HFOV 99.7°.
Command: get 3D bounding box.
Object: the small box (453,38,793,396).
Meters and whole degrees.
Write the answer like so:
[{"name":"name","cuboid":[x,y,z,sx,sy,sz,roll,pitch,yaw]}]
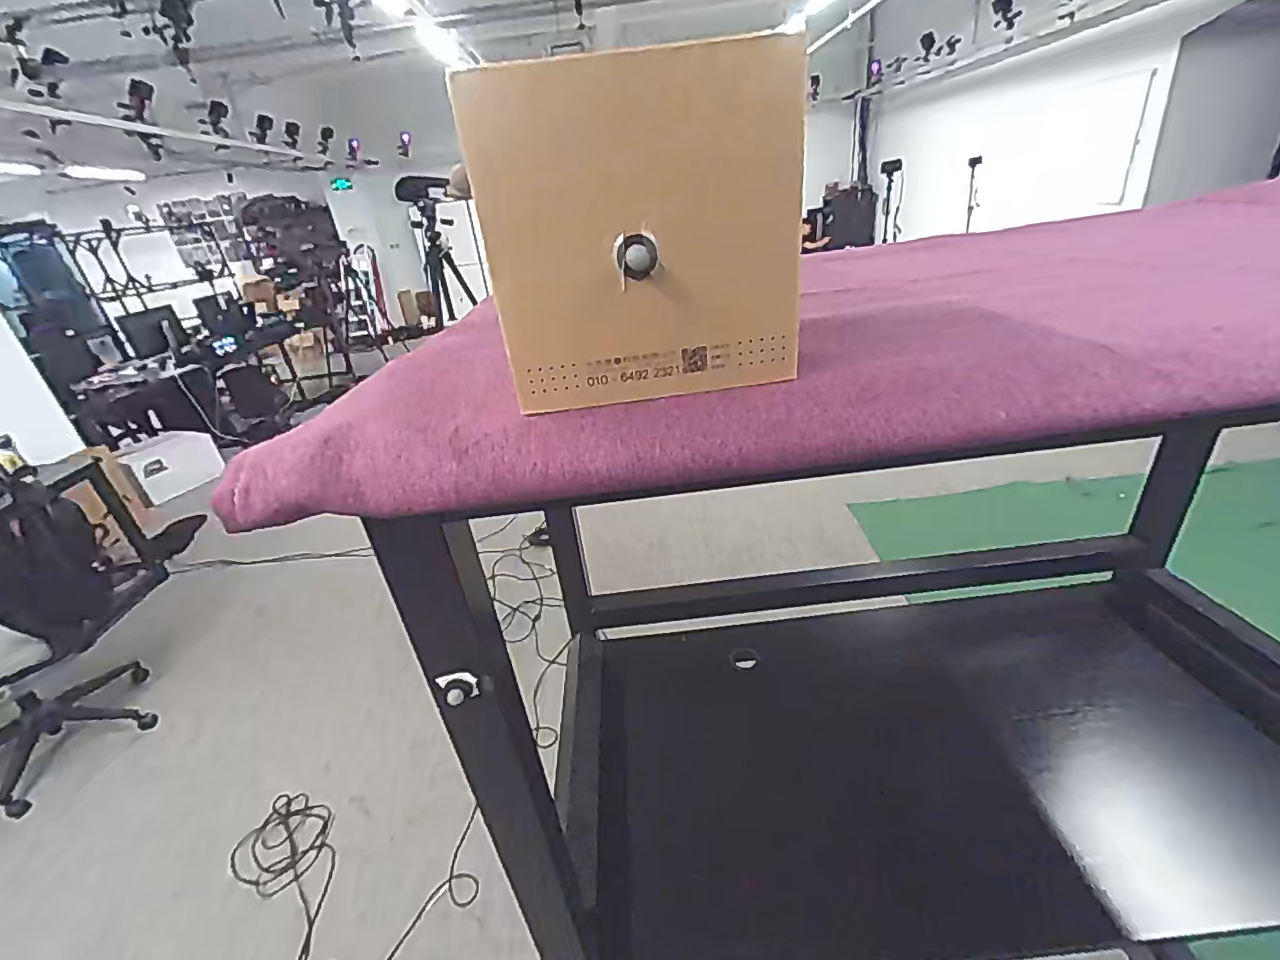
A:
[{"name":"small box","cuboid":[-0.005,-0.159,0.360,0.168,0.176,0.179,-7,27,-2]}]
